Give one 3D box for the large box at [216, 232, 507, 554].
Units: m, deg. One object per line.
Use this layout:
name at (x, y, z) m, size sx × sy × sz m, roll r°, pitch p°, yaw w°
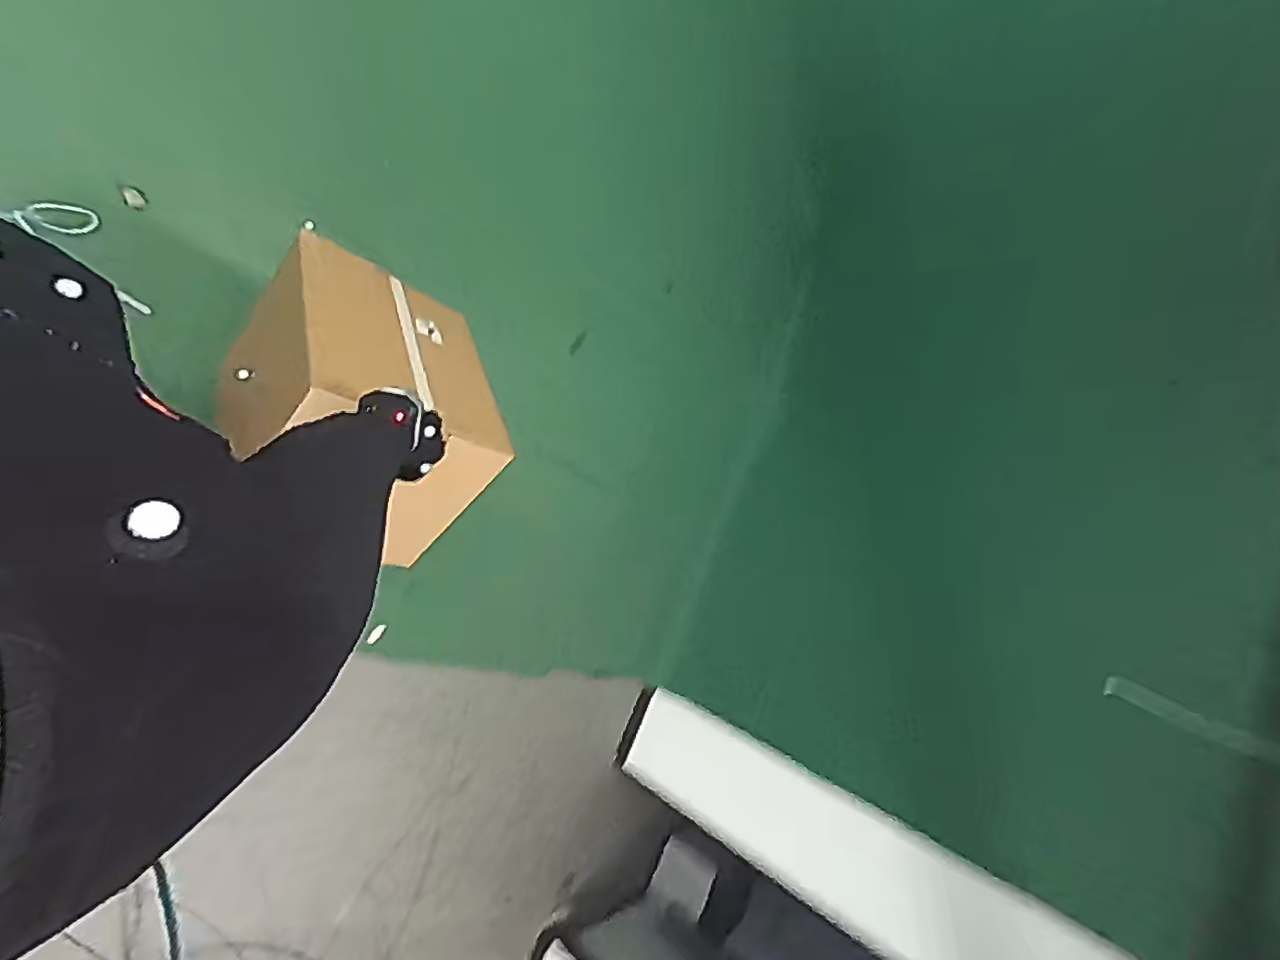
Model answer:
large box at (-0.492, -0.130, 0.938) m, size 0.320 × 0.408 × 0.320 m, roll -43°, pitch 144°, yaw 19°
